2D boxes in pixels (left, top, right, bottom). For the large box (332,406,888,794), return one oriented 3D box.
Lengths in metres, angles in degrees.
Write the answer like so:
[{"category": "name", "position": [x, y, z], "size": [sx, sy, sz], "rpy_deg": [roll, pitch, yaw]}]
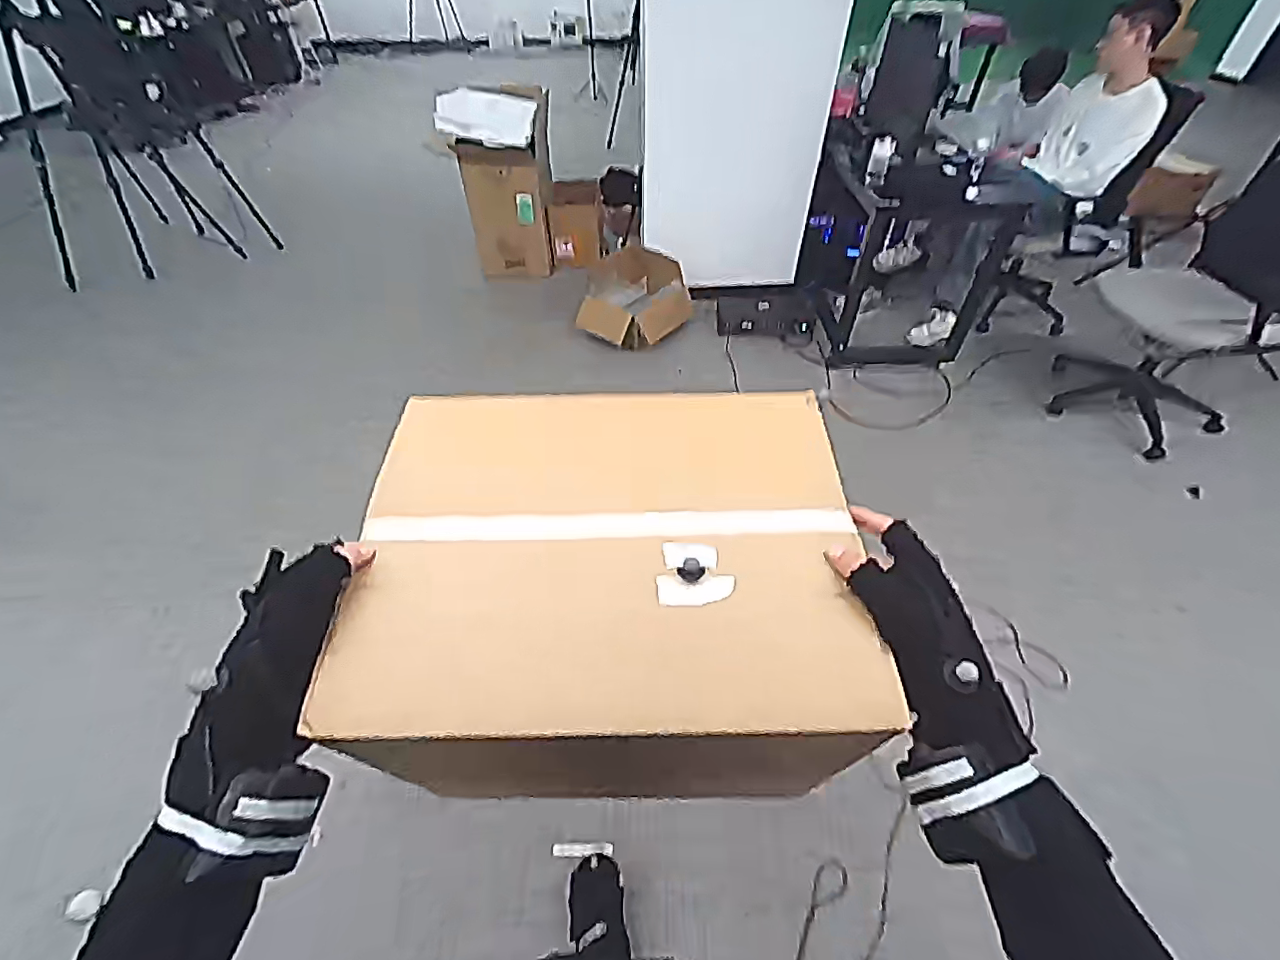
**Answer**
[{"category": "large box", "position": [-0.024, 0.138, 0.587], "size": [0.408, 0.320, 0.320], "rpy_deg": [0, 53, 0]}]
